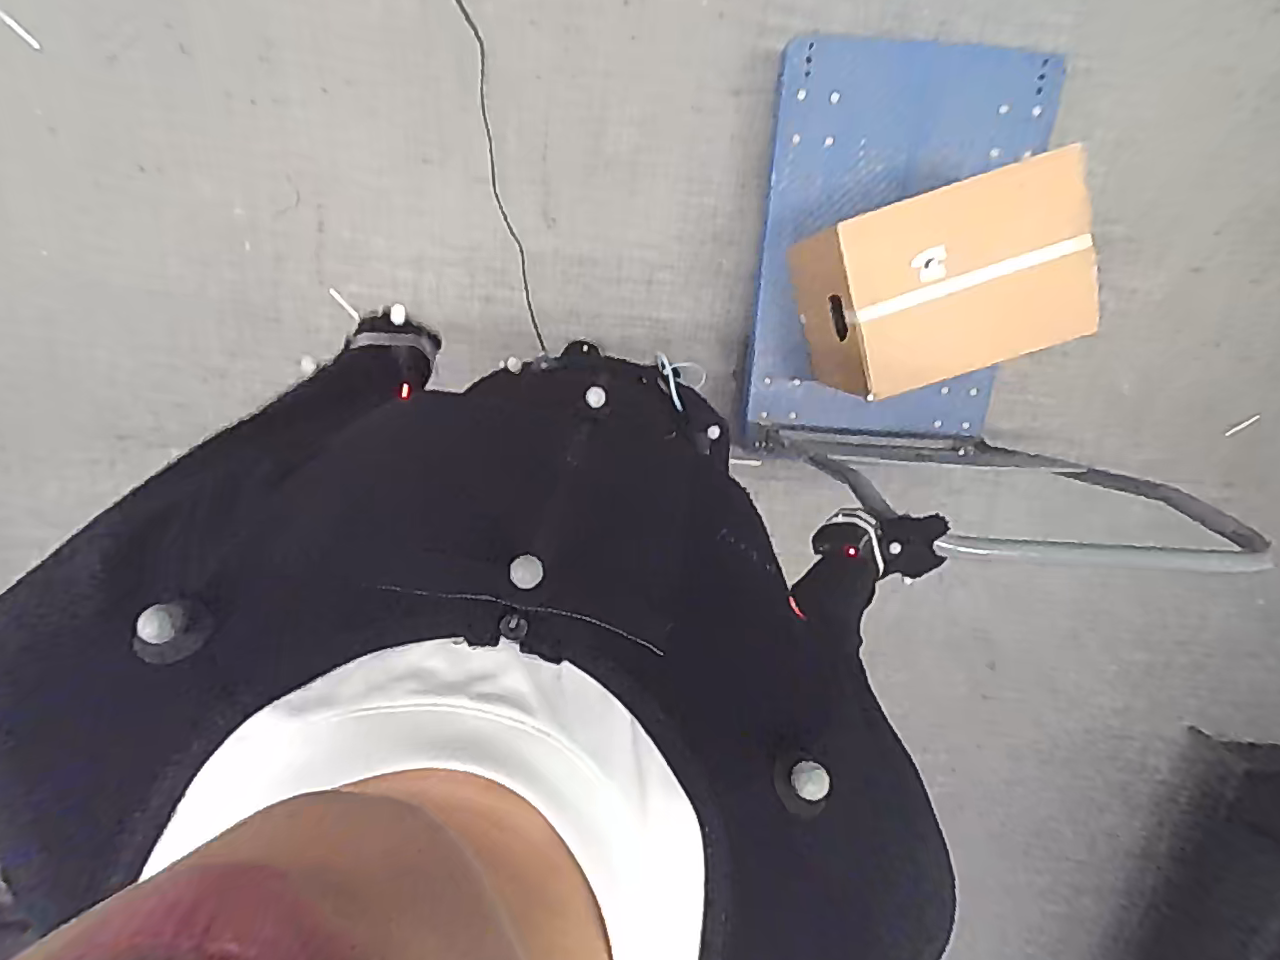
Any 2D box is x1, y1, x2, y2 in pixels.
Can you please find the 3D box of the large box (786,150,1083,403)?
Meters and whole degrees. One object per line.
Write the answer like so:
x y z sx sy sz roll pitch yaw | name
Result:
0.549 -0.381 1.067 0.408 0.320 0.320 -16 106 5 | large box
